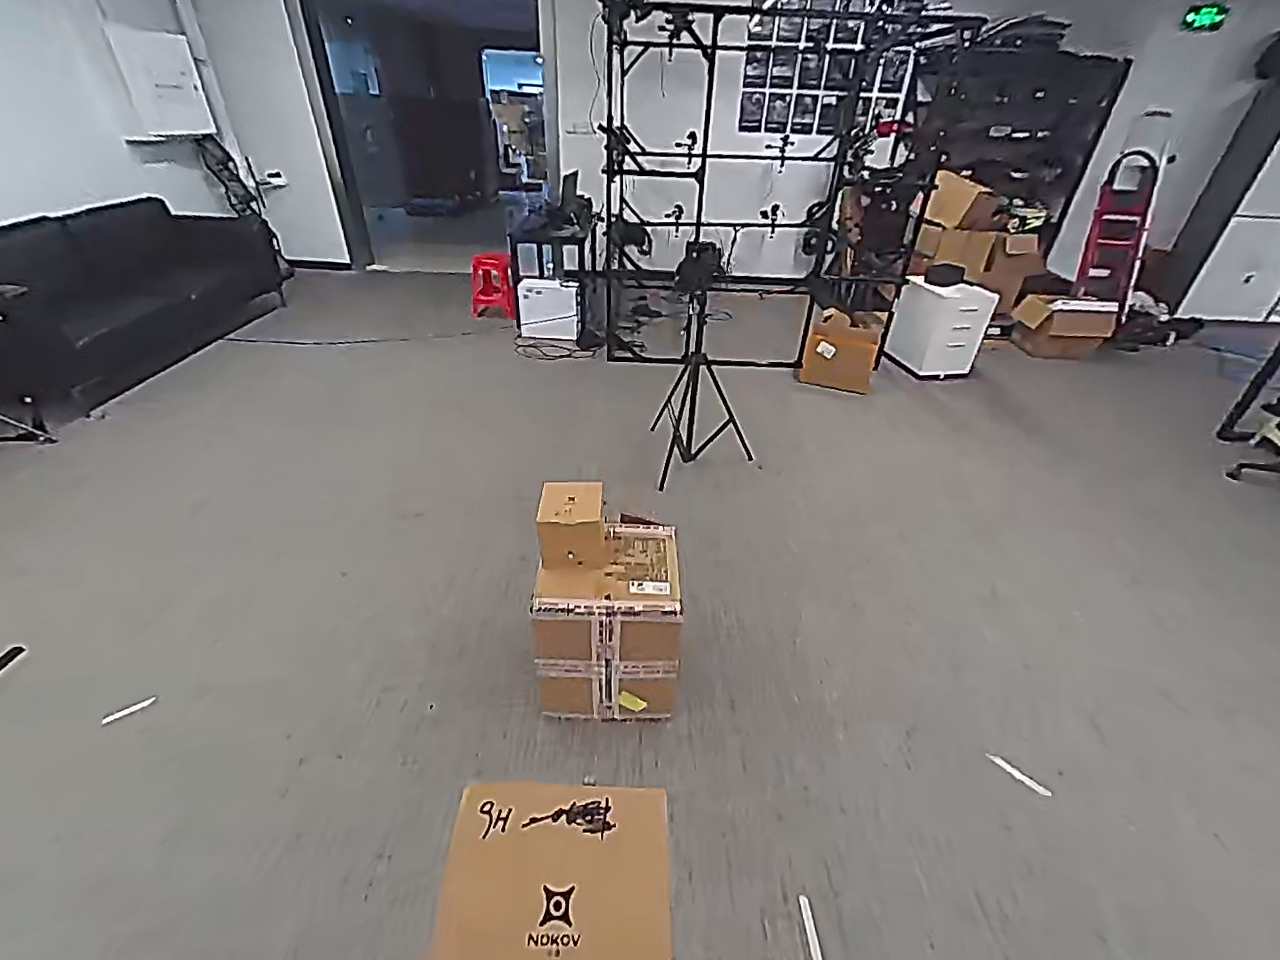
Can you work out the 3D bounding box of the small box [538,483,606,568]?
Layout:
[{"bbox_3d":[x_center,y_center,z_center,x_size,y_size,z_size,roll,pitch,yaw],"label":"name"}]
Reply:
[{"bbox_3d":[-0.183,0.124,1.500,0.168,0.176,0.179,-1,37,-1],"label":"small box"}]
